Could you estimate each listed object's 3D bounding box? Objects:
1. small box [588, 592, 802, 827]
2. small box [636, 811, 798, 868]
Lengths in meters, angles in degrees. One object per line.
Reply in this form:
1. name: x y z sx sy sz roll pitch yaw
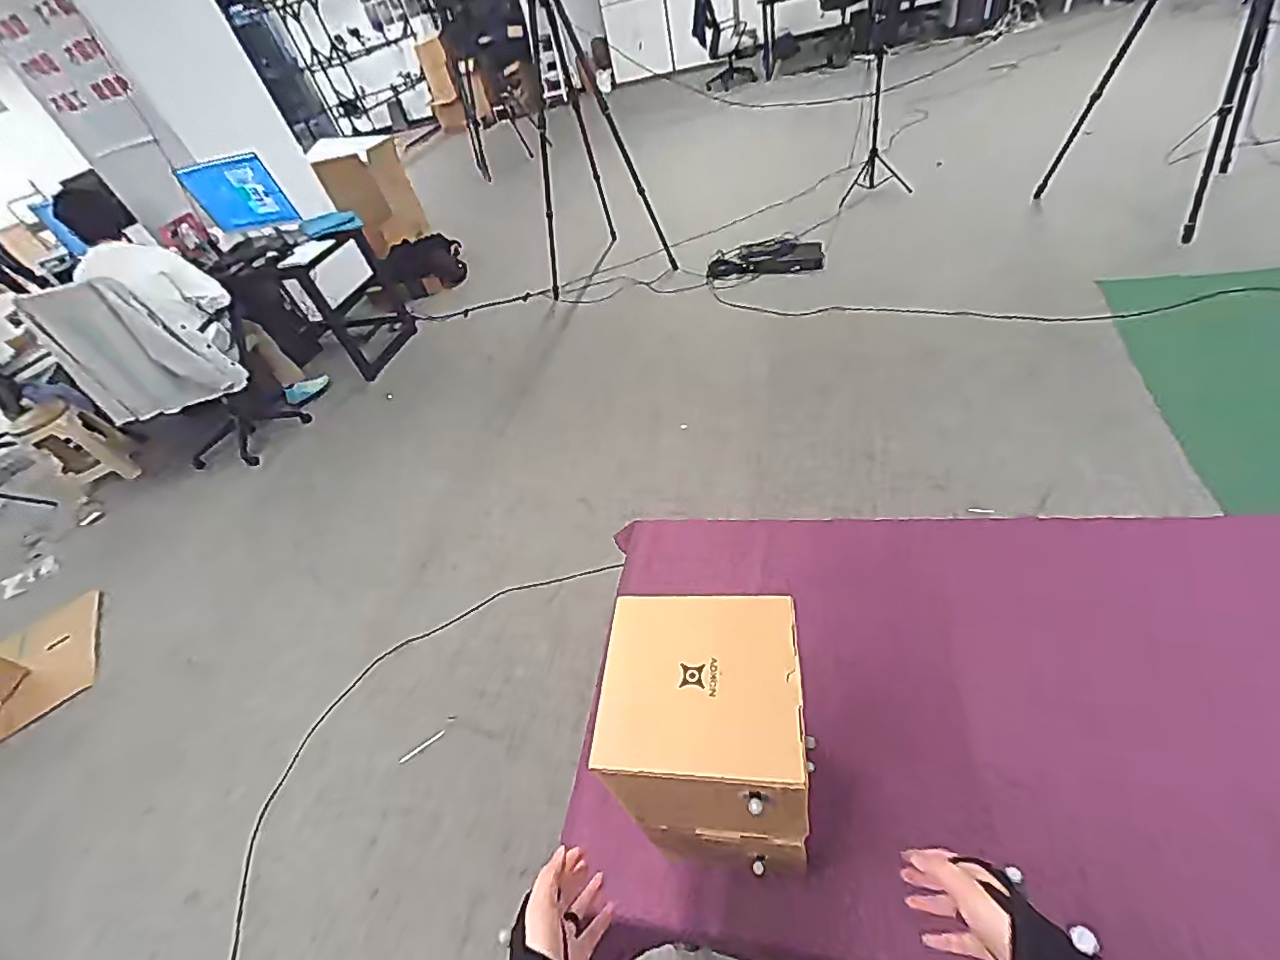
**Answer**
1. small box: 0.066 0.228 0.538 0.179 0.176 0.168 -2 46 12
2. small box: 0.103 0.341 0.649 0.168 0.176 0.179 -1 46 14
